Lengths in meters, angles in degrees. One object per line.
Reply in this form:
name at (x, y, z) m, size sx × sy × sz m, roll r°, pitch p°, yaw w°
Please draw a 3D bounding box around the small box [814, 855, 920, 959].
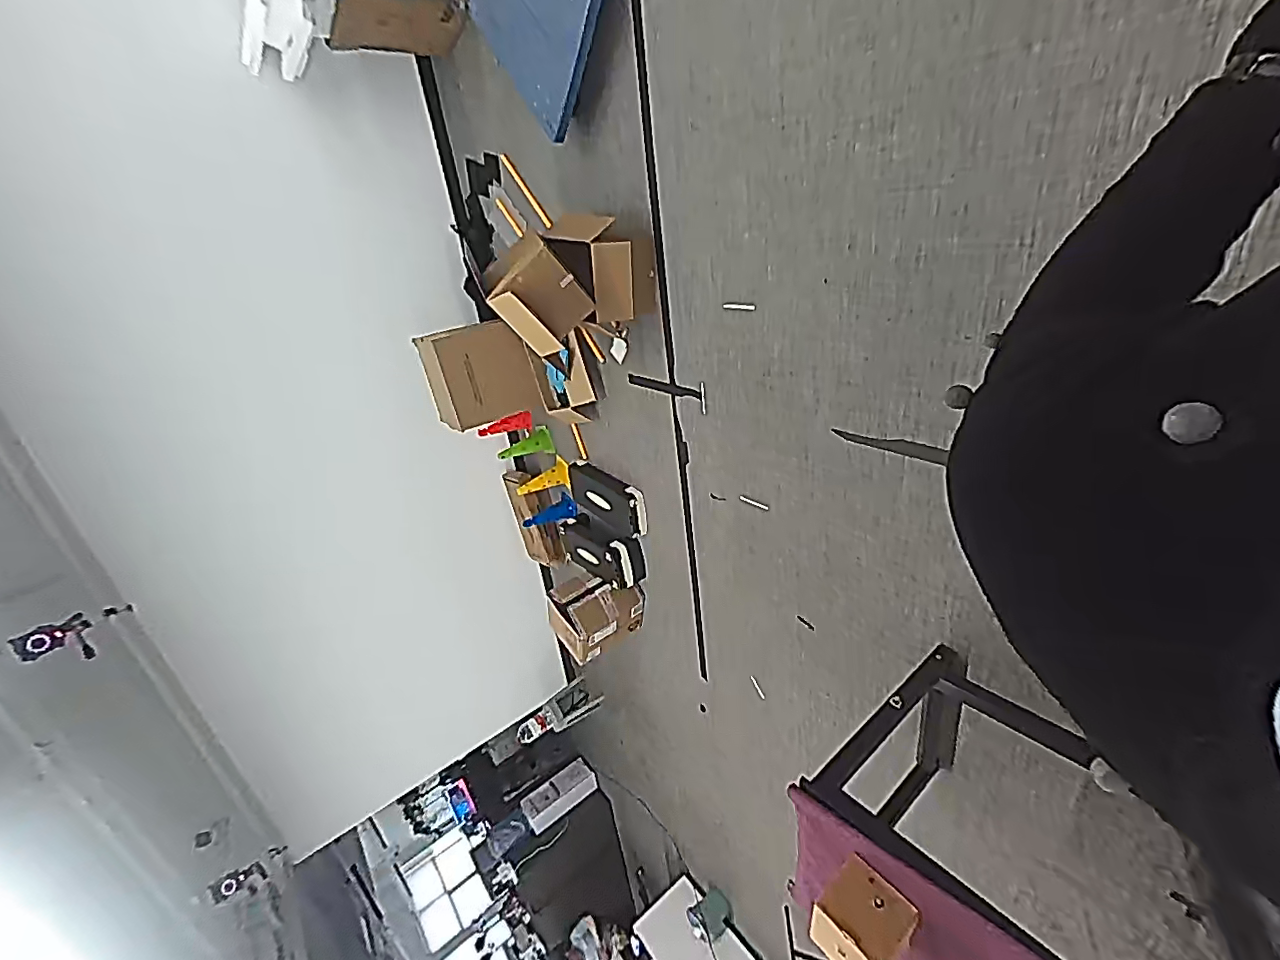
small box at (0.535, 1.049, 1.280) m, size 0.168 × 0.176 × 0.179 m, roll 28°, pitch 134°, yaw 45°
